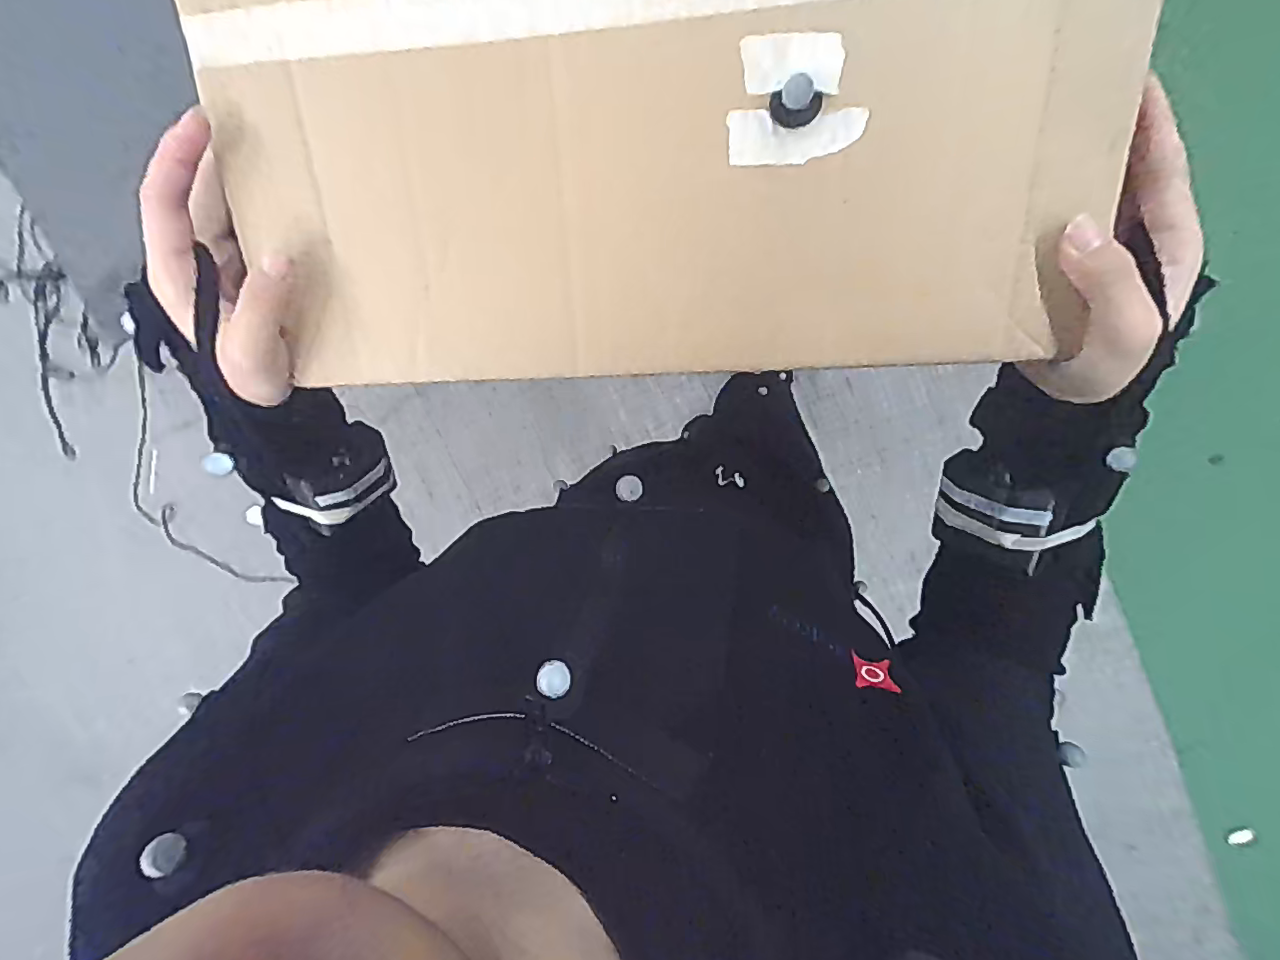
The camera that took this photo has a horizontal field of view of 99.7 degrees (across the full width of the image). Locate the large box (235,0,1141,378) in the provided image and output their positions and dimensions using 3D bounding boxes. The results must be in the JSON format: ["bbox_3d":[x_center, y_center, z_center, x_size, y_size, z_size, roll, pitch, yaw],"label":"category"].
[{"bbox_3d":[0.019,-0.254,0.380,0.408,0.320,0.320,-1,108,5],"label":"large box"}]
